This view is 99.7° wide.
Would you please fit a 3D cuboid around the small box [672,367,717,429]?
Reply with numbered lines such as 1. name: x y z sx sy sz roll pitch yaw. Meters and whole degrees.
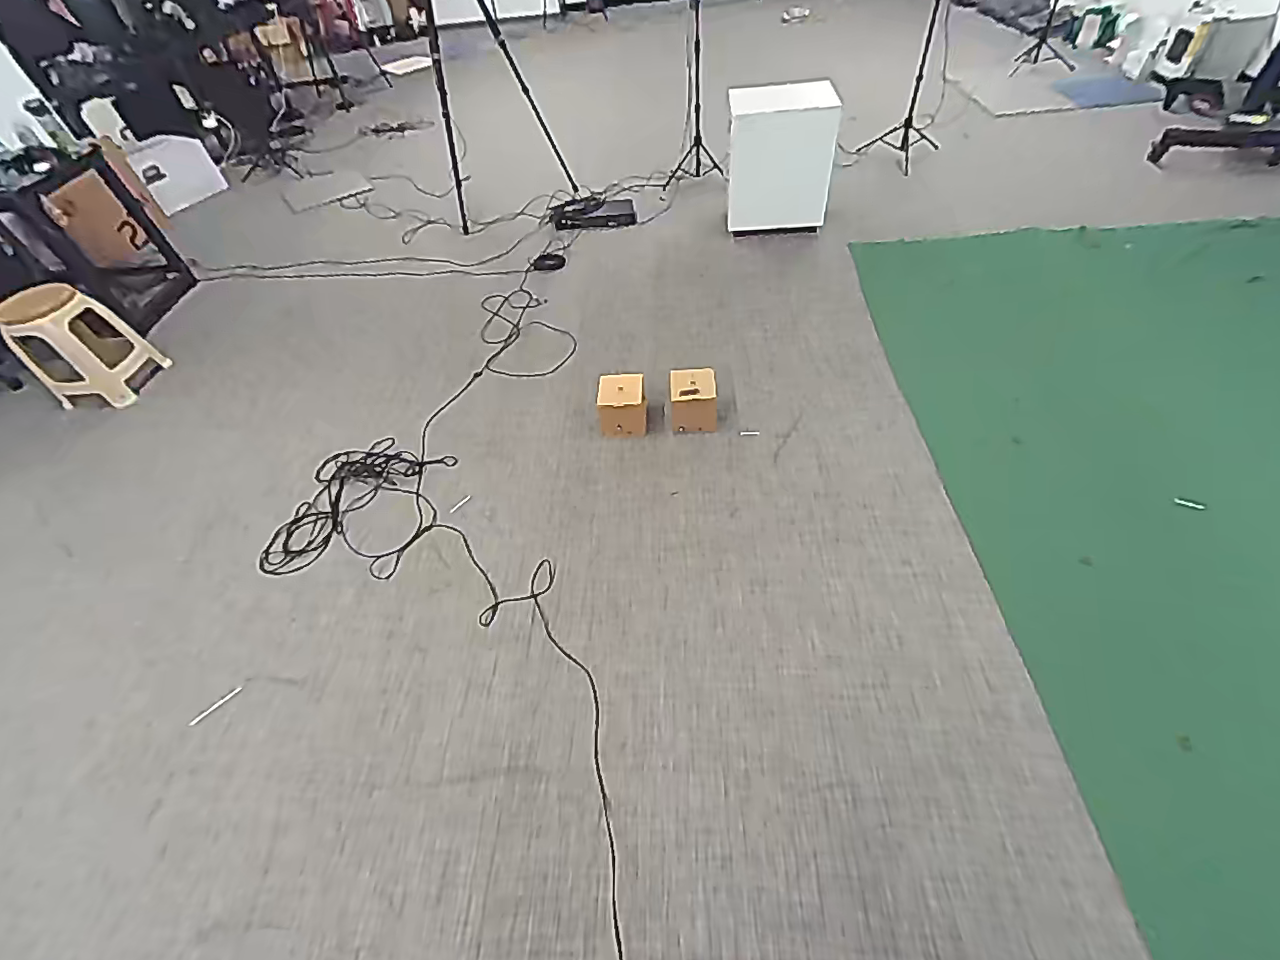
1. small box: 0.209 -0.307 2.068 0.168 0.176 0.179 -2 49 5

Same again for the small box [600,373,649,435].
1. small box: -0.056 -0.293 2.091 0.168 0.176 0.179 -2 50 6
